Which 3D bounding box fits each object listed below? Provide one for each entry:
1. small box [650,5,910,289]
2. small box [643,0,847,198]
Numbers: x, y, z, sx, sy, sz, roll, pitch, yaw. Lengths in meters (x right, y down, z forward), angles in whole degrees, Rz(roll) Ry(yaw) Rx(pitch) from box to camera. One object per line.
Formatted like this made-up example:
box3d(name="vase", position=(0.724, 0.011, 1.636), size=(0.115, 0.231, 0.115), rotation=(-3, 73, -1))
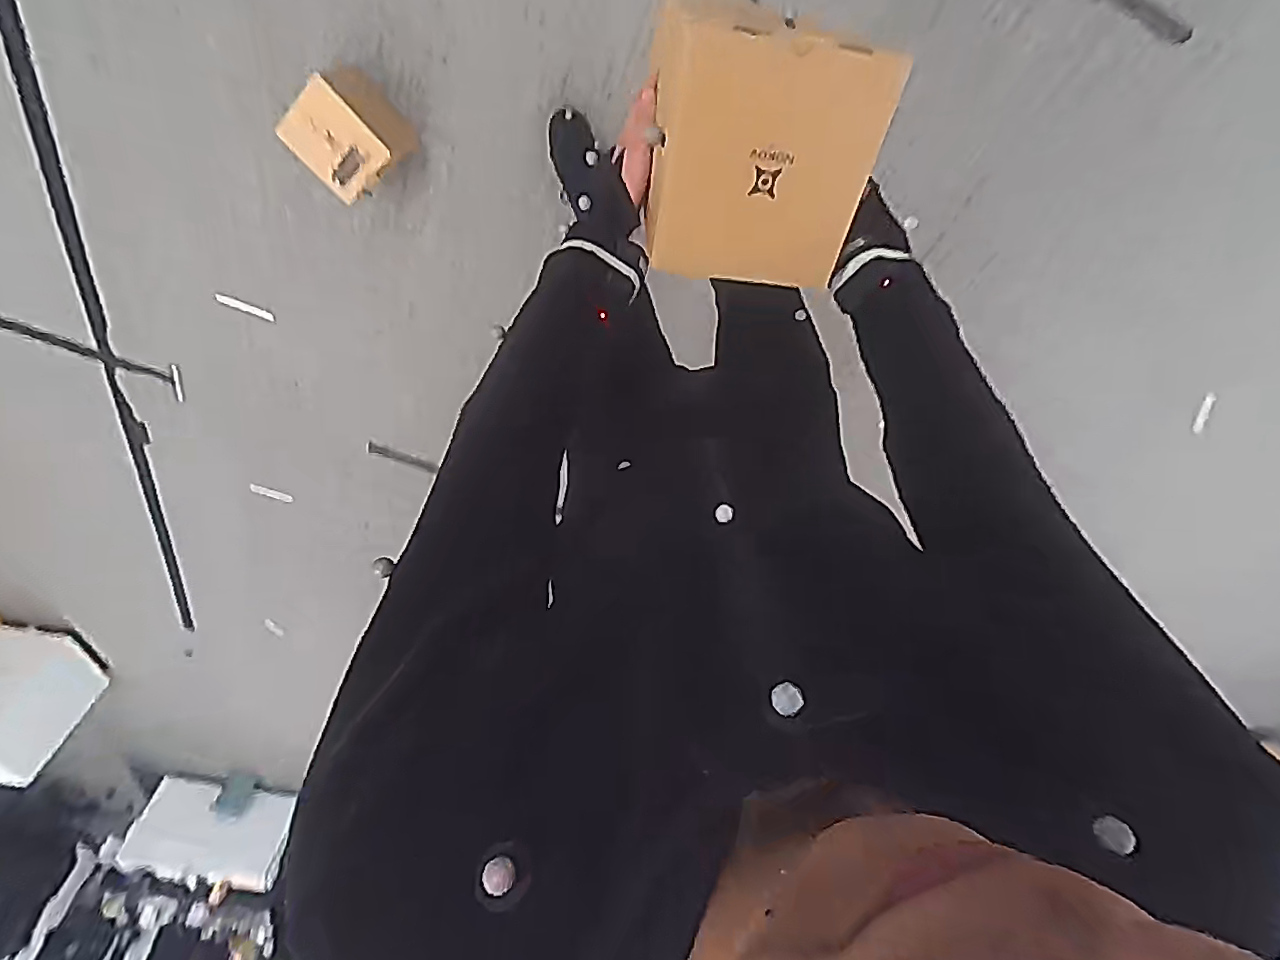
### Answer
box3d(name="small box", position=(0.100, -0.299, 0.488), size=(0.168, 0.176, 0.179), rotation=(3, 133, -6))
box3d(name="small box", position=(0.096, -0.416, 0.601), size=(0.168, 0.176, 0.179), rotation=(5, 134, -7))
